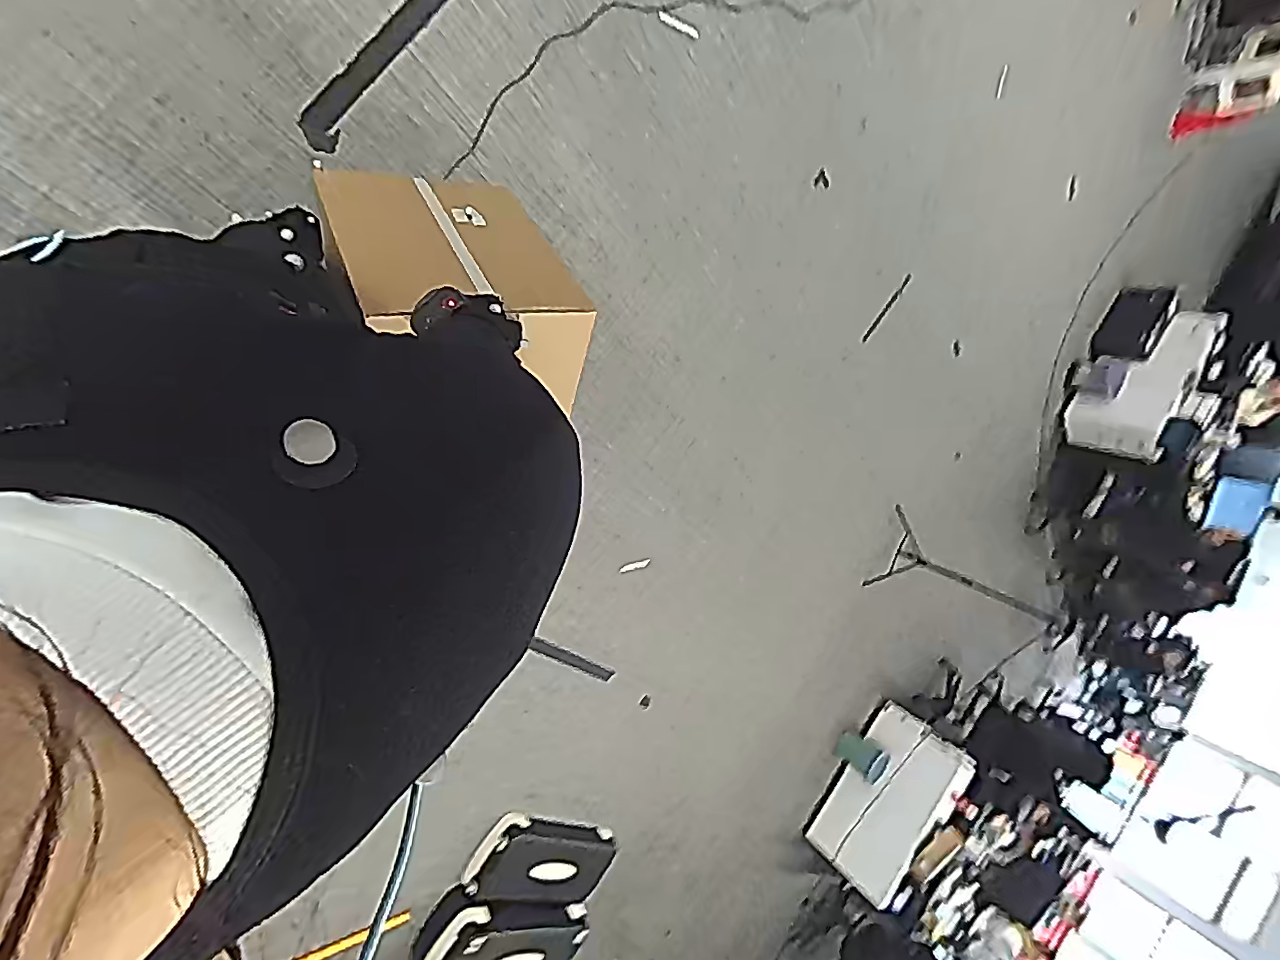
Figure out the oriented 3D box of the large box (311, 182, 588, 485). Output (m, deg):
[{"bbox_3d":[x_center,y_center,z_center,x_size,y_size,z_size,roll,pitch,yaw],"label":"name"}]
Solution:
[{"bbox_3d":[-0.337,-0.255,0.930,0.320,0.408,0.320,-11,142,-32],"label":"large box"}]
